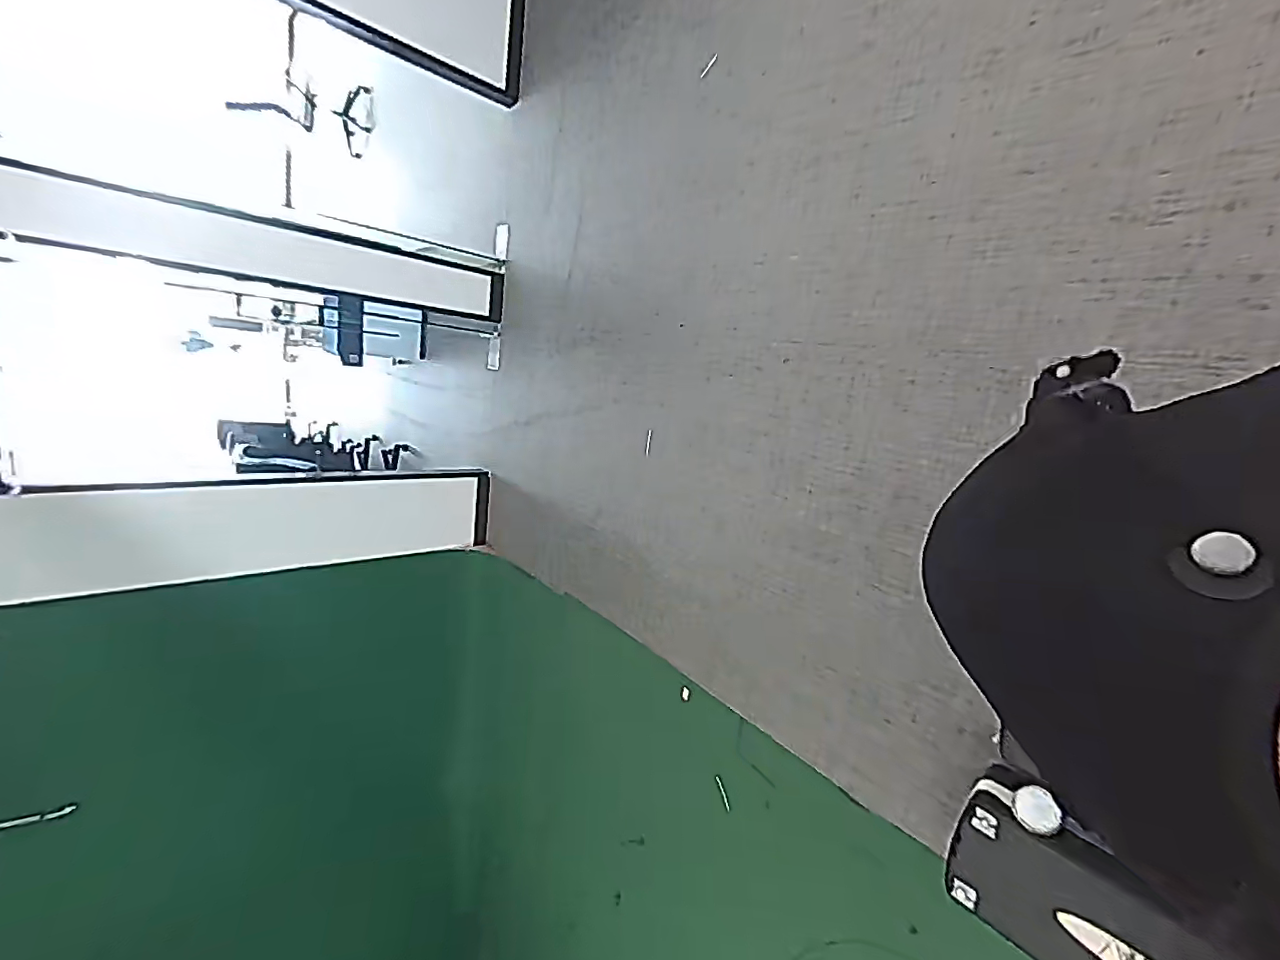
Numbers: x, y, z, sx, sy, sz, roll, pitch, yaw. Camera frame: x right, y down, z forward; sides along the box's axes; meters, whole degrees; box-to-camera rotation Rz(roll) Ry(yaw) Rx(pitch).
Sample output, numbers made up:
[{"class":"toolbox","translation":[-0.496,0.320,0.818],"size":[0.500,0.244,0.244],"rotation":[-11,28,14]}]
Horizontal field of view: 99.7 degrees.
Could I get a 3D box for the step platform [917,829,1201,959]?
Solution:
[{"class":"step platform","translation":[0.875,0.959,0.929],"size":[0.684,0.204,0.286],"rotation":[19,105,46]}]
